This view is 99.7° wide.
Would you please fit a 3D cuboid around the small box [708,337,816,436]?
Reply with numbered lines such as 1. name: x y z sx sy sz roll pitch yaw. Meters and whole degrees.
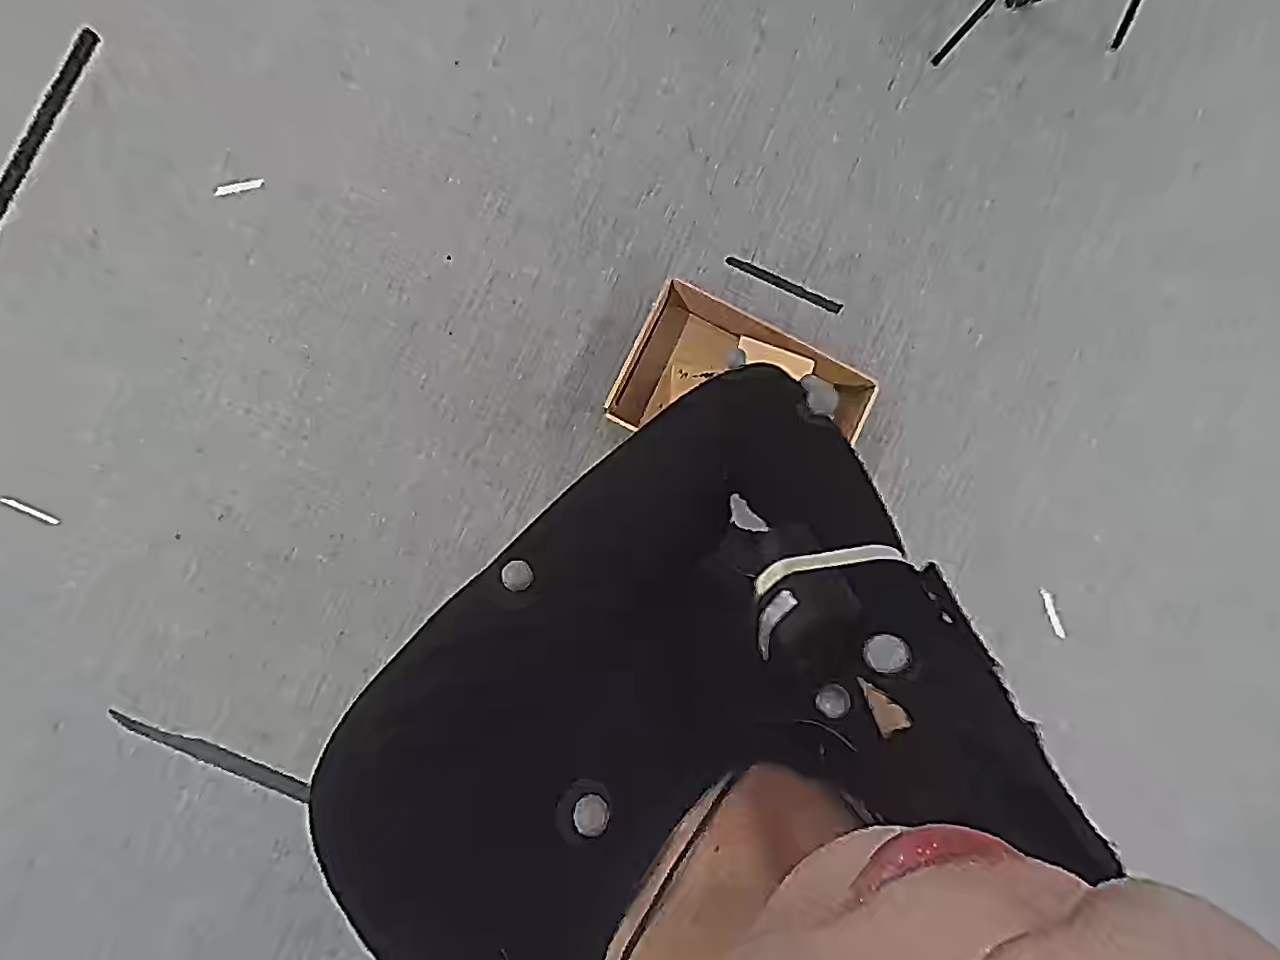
1. small box: 0.275 -0.207 1.251 0.179 0.176 0.168 18 86 -2
